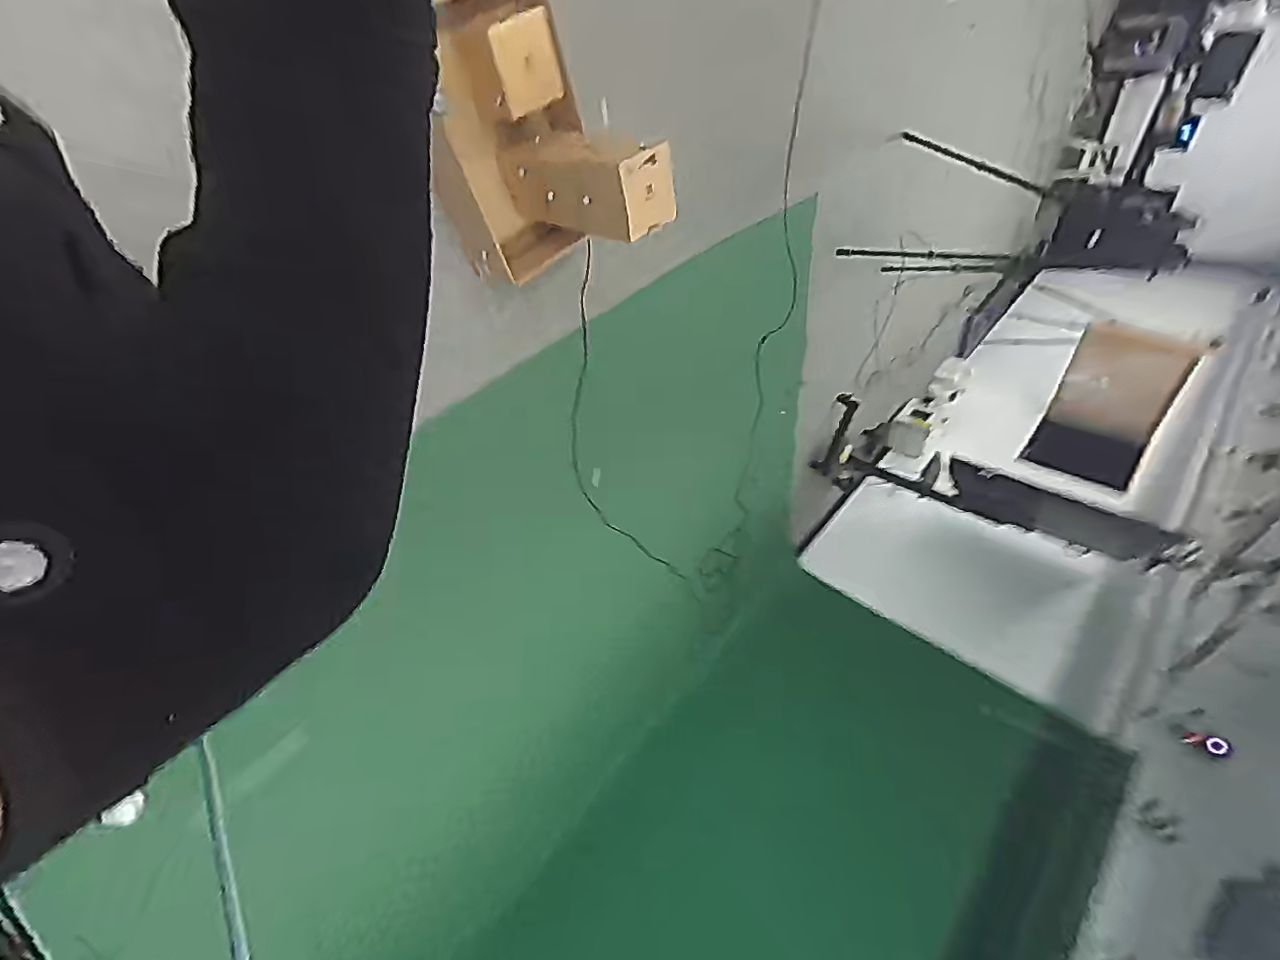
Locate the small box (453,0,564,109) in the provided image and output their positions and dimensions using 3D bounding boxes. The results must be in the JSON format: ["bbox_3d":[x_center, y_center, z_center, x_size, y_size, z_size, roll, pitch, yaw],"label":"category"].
[{"bbox_3d":[-0.318,-1.026,1.305,0.168,0.176,0.179,-42,144,-22],"label":"small box"}]

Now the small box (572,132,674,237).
[{"bbox_3d":[-0.039,-0.717,1.307,0.168,0.176,0.179,-40,141,-27],"label":"small box"}]

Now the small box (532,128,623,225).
[{"bbox_3d":[-0.147,-0.794,1.407,0.179,0.176,0.168,-42,142,-23],"label":"small box"}]
